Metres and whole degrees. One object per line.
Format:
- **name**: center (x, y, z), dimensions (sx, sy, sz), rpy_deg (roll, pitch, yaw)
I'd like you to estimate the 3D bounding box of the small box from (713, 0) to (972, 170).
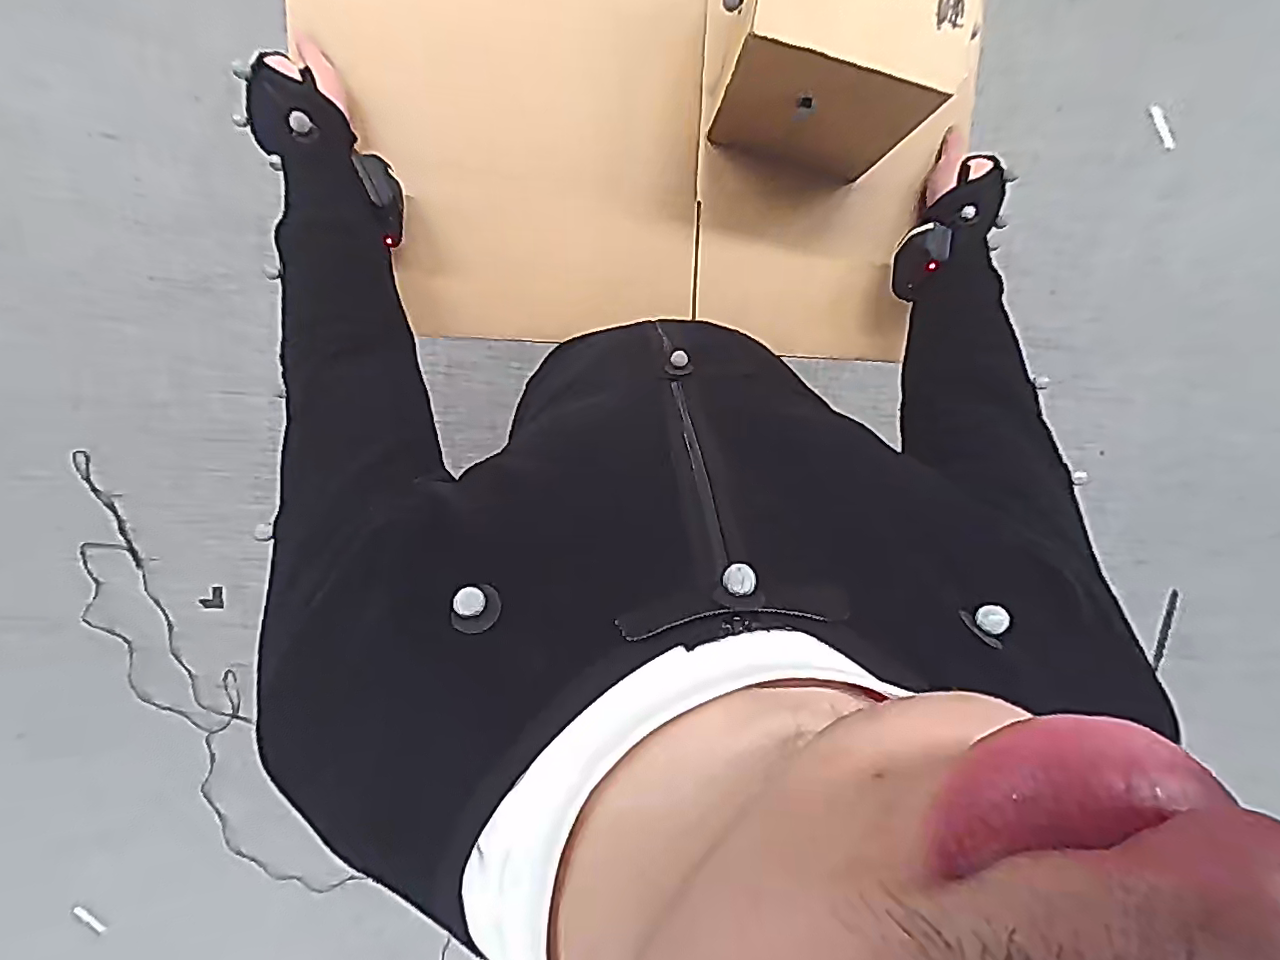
- **small box**: center (0.177, -0.419, 0.500), dimensions (0.179, 0.176, 0.168), rpy_deg (12, 97, -5)
